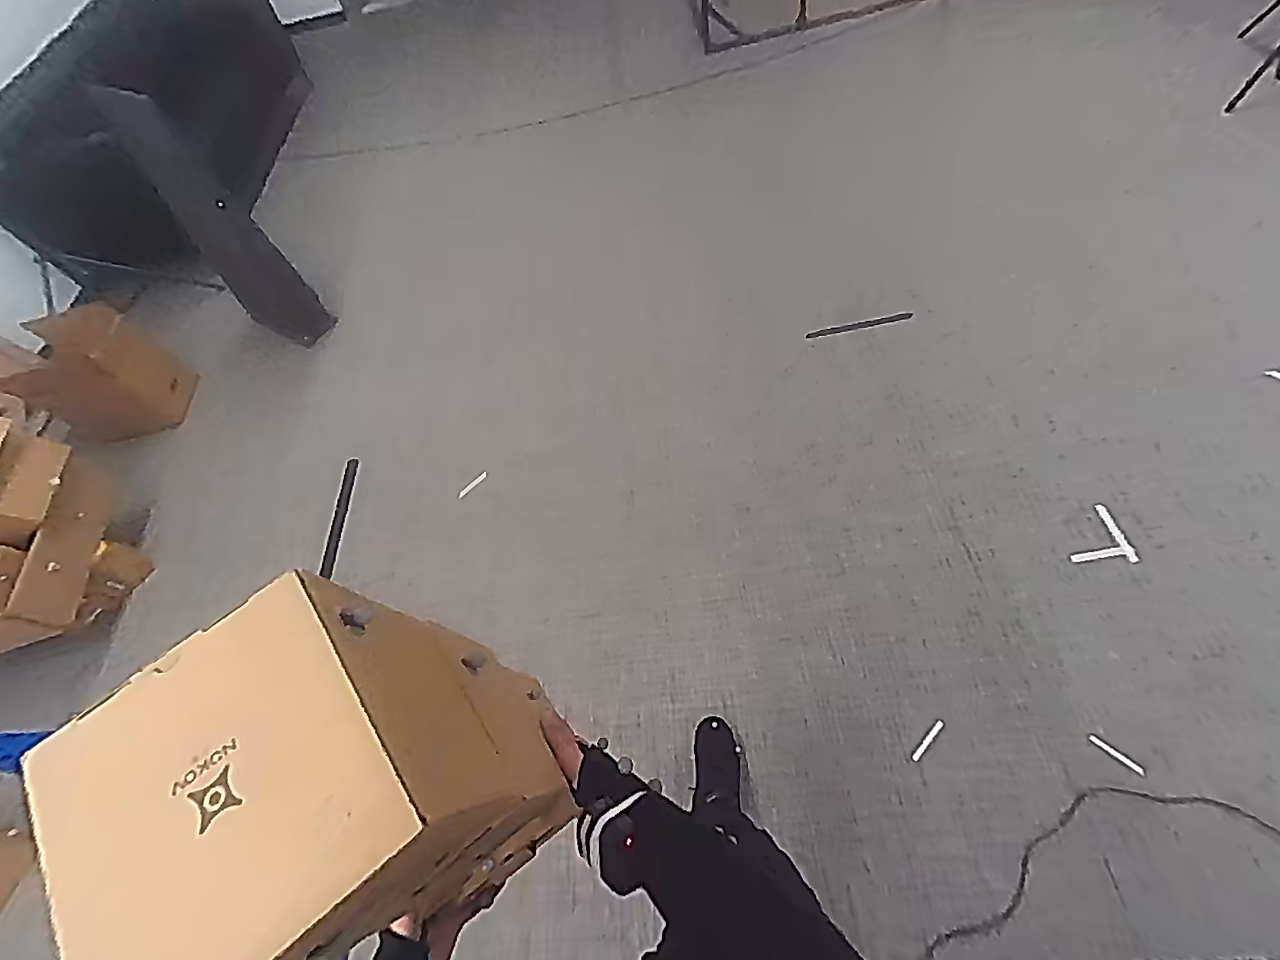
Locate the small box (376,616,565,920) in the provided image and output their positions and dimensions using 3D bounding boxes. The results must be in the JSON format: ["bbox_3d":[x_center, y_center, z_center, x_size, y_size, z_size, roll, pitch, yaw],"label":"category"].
[{"bbox_3d":[-0.193,0.258,0.496,0.168,0.176,0.179,-35,66,-11],"label":"small box"}]

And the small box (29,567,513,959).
[{"bbox_3d":[-0.209,0.190,0.349,0.168,0.176,0.179,-37,65,-12],"label":"small box"}]
